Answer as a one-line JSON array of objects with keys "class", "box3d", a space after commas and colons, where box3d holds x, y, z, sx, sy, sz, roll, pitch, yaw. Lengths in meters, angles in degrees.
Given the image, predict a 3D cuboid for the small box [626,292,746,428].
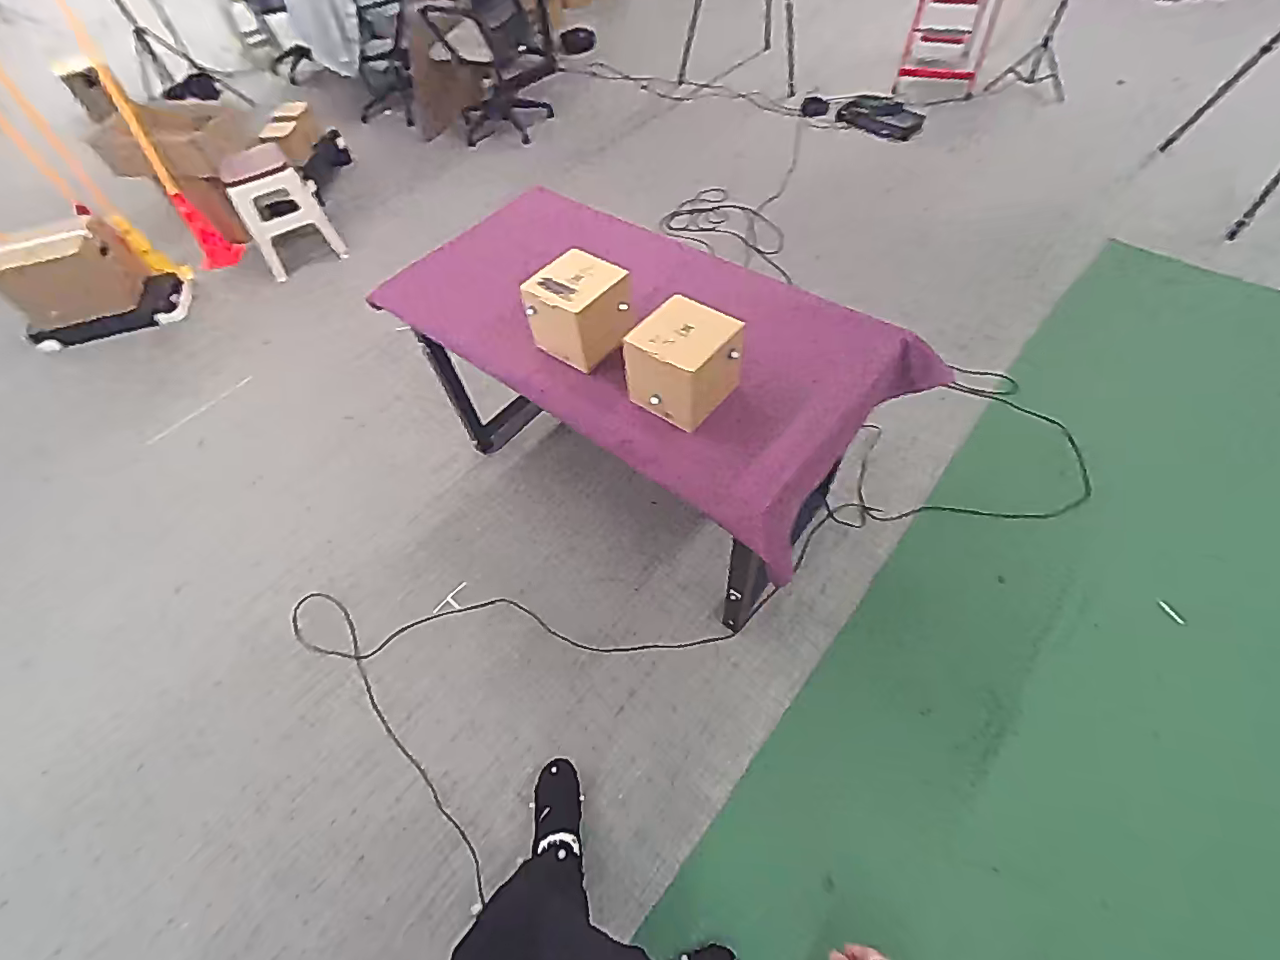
[{"class": "small box", "box3d": [0.091, -0.241, 1.098, 0.168, 0.176, 0.179, 33, 64, 24]}]
